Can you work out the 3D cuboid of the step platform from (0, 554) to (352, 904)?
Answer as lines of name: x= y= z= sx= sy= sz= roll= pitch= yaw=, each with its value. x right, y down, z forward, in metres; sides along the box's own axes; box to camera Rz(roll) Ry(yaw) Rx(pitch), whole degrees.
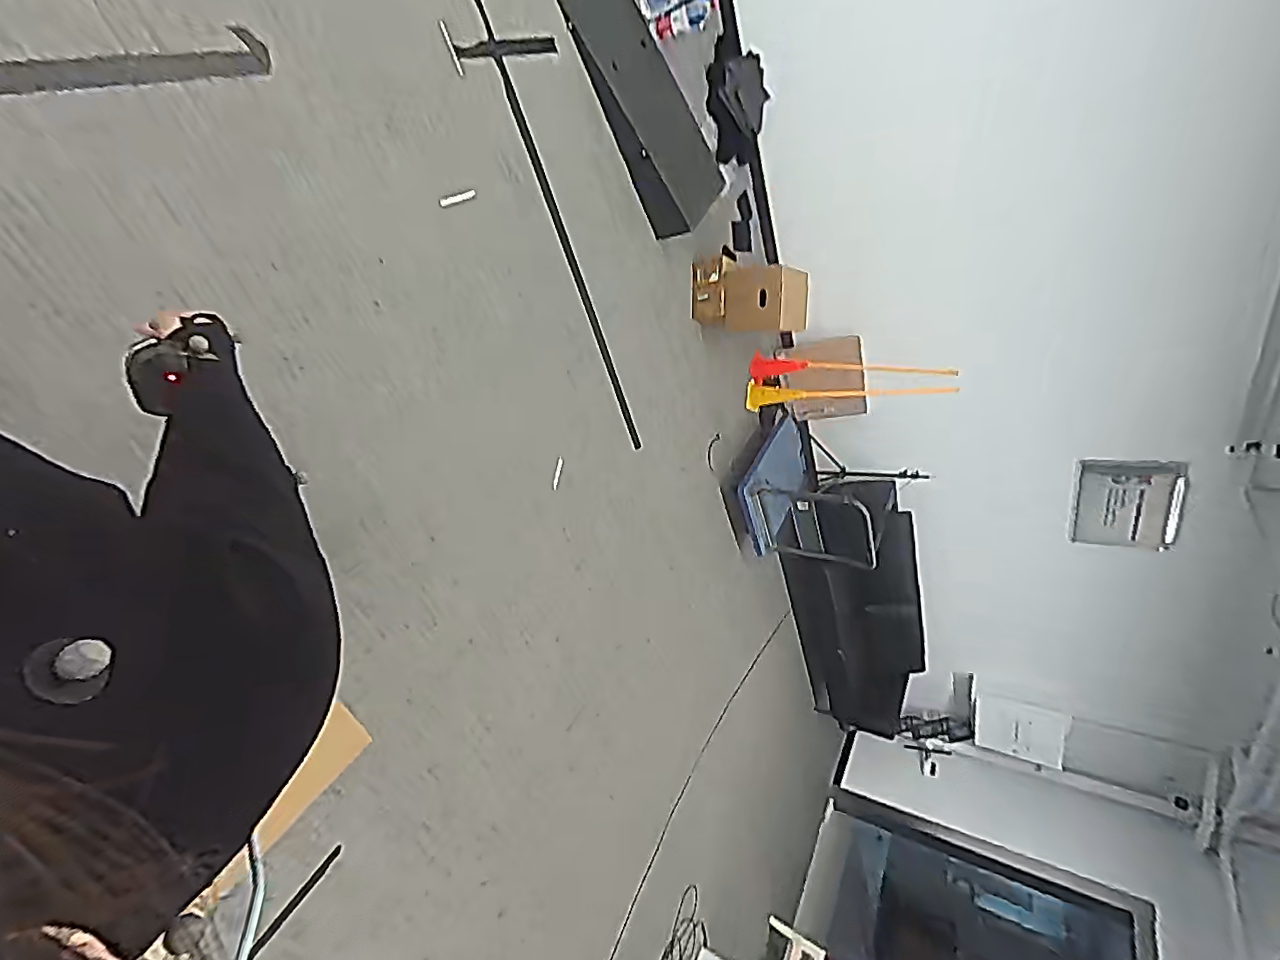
step platform: x=-0.978 y=0.452 z=1.122 sx=0.684 sy=0.204 sz=0.286 roll=-43 pitch=125 yaw=-45
